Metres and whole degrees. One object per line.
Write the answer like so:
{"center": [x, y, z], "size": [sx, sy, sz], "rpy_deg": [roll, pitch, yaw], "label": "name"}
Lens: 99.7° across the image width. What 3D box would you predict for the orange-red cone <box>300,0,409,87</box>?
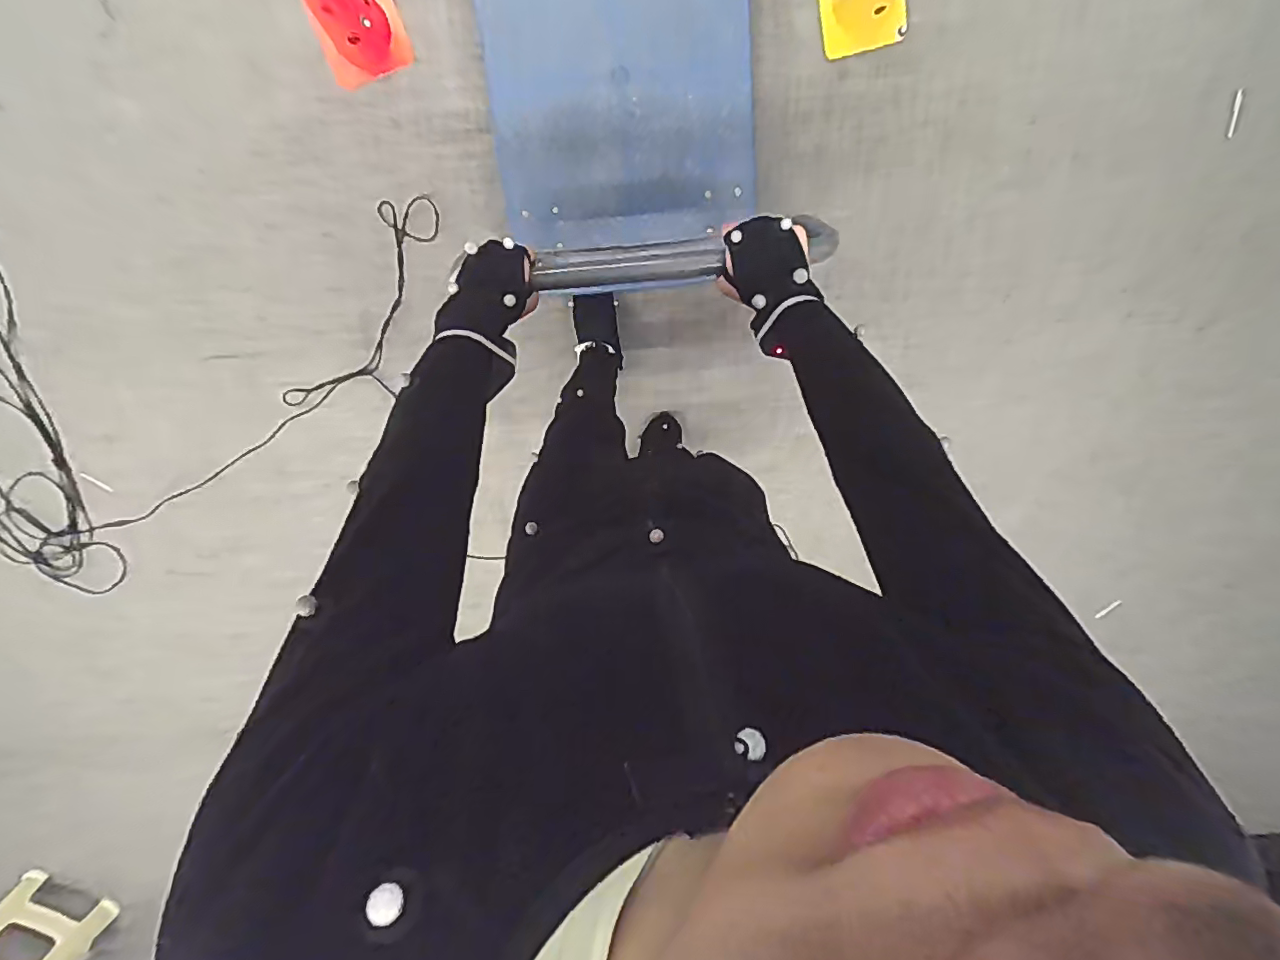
{"center": [-0.660, -1.006, 1.103], "size": [0.199, 0.360, 0.198], "rpy_deg": [-17, 105, 5], "label": "orange-red cone"}
